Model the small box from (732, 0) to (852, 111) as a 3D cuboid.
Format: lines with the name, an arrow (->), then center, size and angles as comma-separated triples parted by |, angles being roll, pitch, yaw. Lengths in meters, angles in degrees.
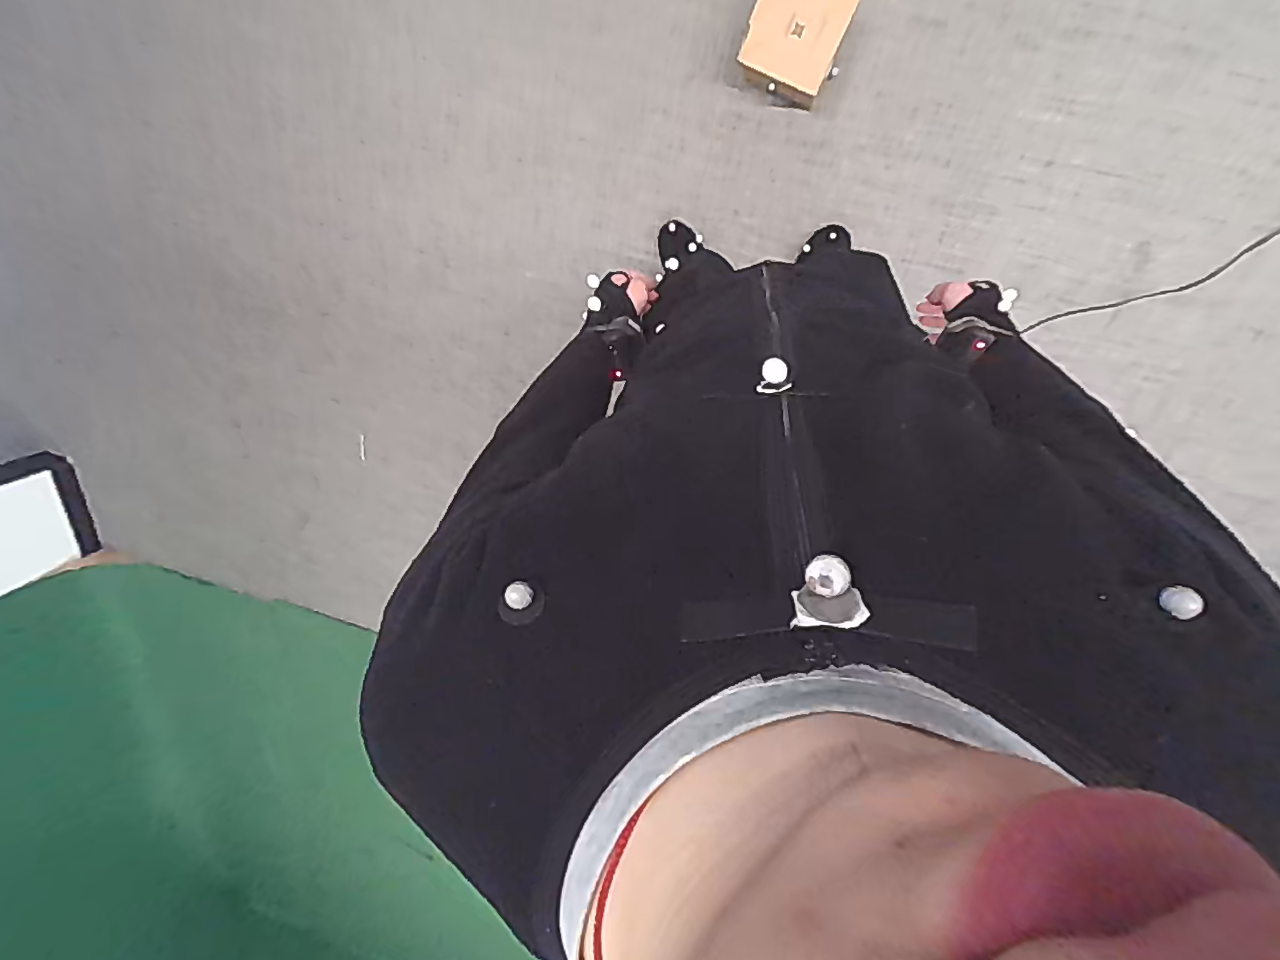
small box -> 0.309, -0.897, 1.122 | 0.179, 0.176, 0.168 | 25, 120, 0
